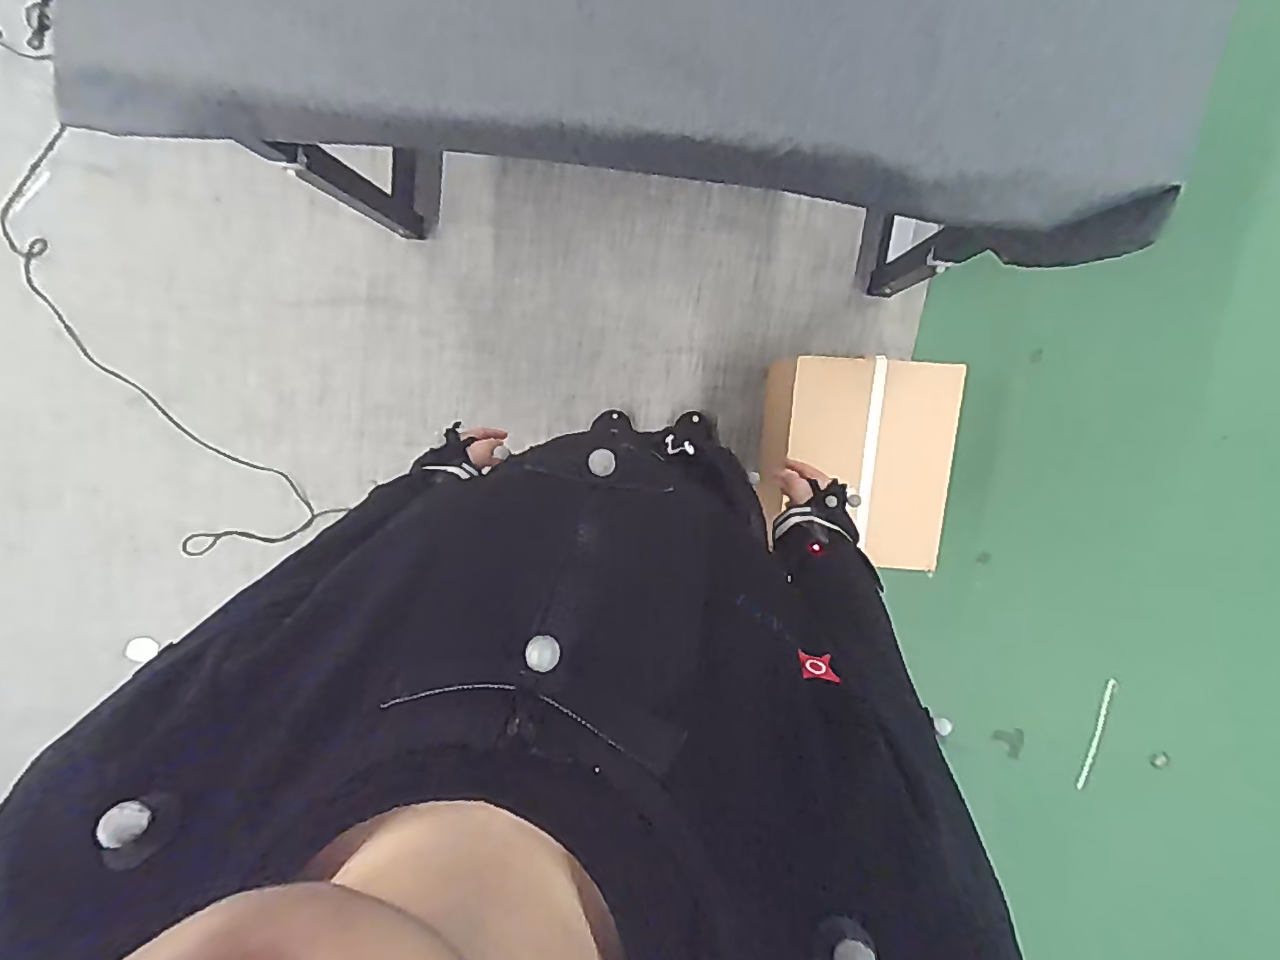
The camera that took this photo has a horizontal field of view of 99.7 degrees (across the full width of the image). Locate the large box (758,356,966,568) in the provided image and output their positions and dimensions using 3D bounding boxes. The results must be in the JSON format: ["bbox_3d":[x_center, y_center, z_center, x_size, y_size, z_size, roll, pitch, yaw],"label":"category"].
[{"bbox_3d":[0.448,-0.057,1.179,0.320,0.320,0.408,4,100,3],"label":"large box"}]
